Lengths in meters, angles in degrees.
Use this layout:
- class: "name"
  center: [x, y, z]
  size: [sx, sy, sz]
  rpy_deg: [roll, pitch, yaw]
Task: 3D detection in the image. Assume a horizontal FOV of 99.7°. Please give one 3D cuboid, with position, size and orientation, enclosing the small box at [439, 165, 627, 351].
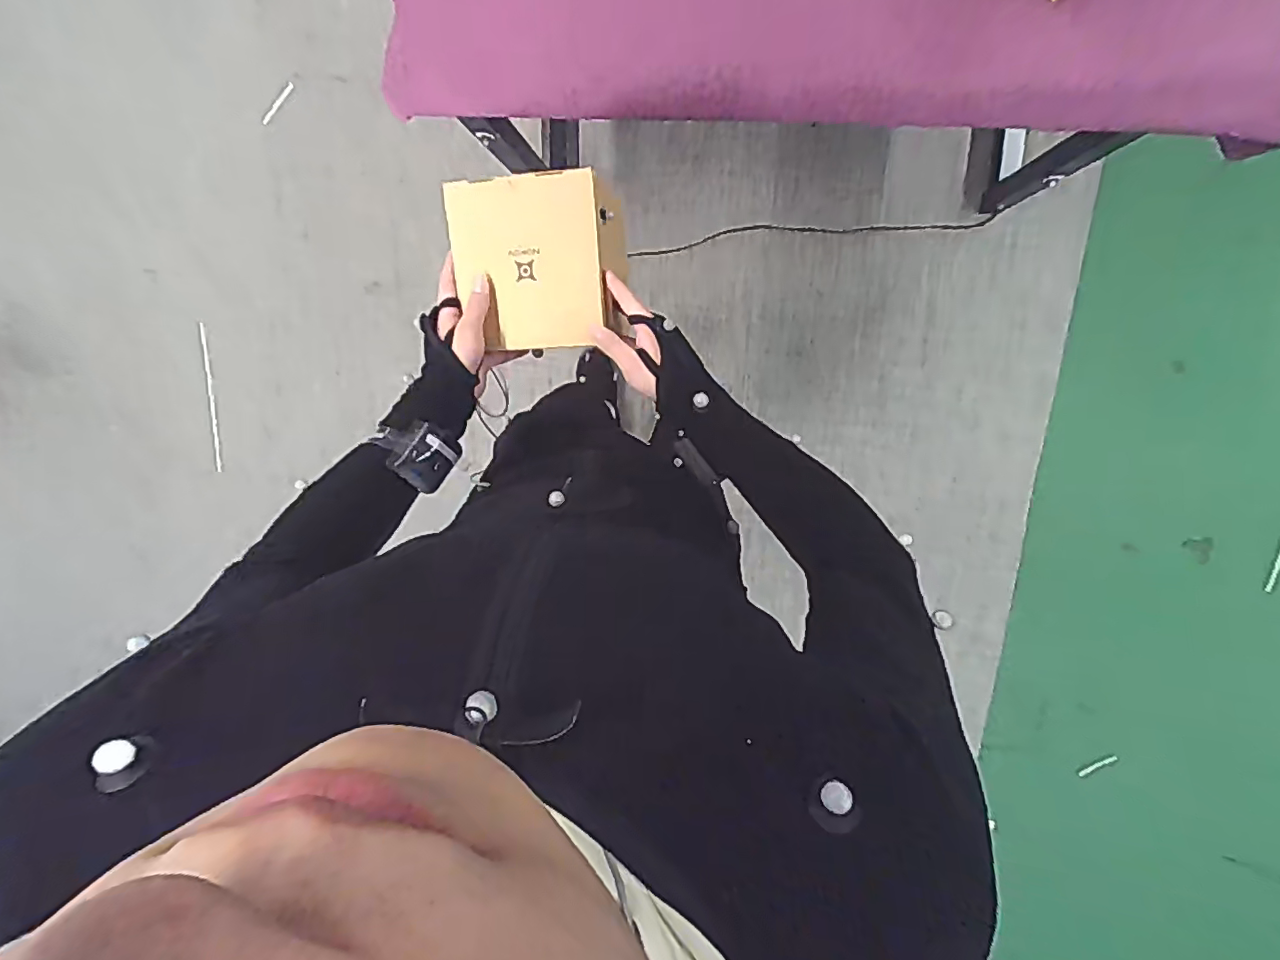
- class: "small box"
  center: [-0.112, -0.253, 0.647]
  size: [0.168, 0.176, 0.179]
  rpy_deg: [0, 107, 9]
